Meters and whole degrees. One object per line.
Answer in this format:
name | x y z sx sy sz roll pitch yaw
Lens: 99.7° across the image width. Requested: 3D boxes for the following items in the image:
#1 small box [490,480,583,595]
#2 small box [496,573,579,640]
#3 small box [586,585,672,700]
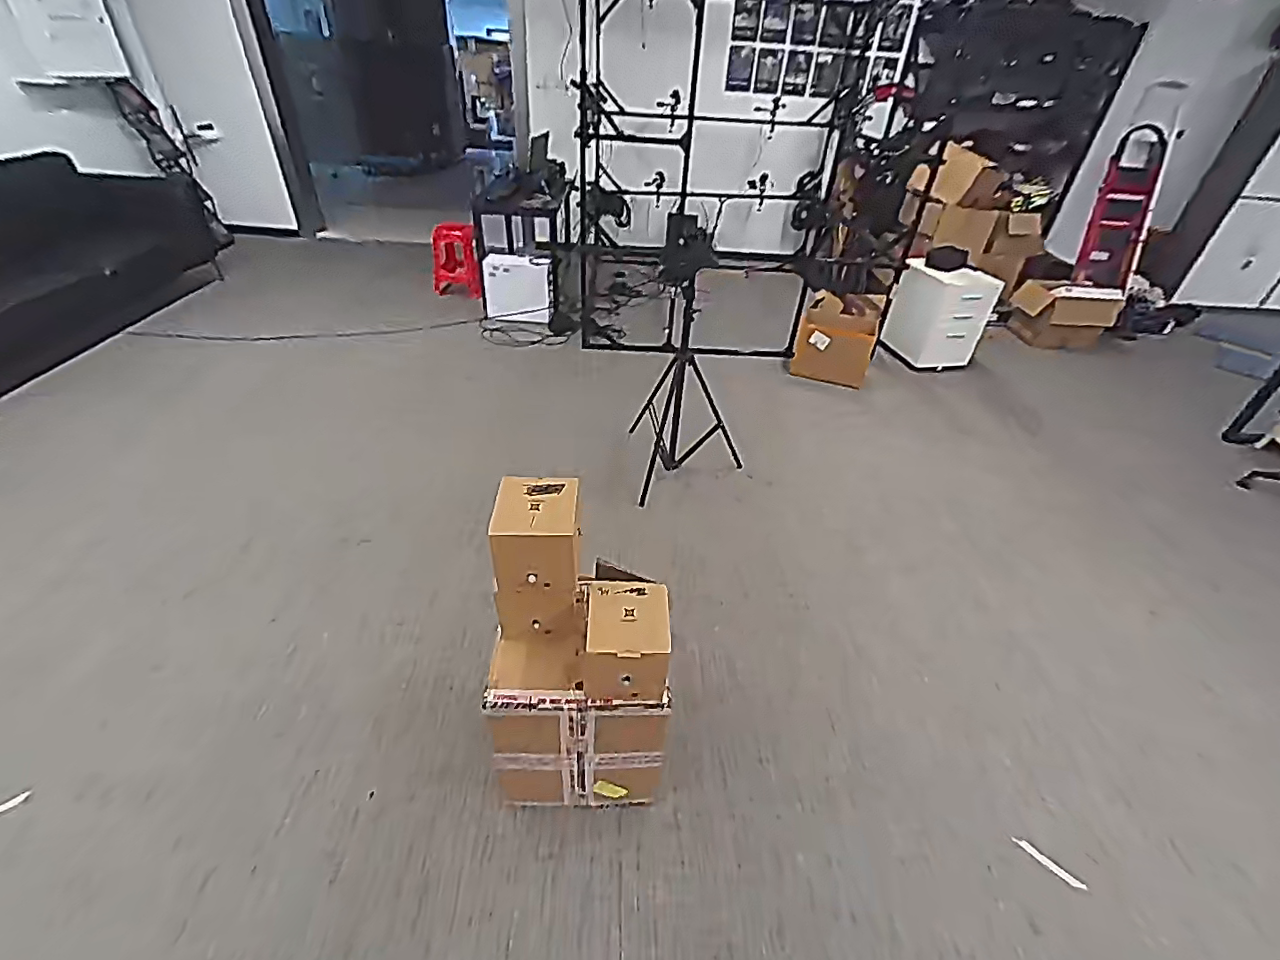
small box | -0.208 0.119 1.137 0.168 0.176 0.179 0 40 -2
small box | -0.229 0.245 1.242 0.168 0.176 0.179 -2 40 -5
small box | -0.025 0.342 1.135 0.168 0.176 0.179 3 39 -4
